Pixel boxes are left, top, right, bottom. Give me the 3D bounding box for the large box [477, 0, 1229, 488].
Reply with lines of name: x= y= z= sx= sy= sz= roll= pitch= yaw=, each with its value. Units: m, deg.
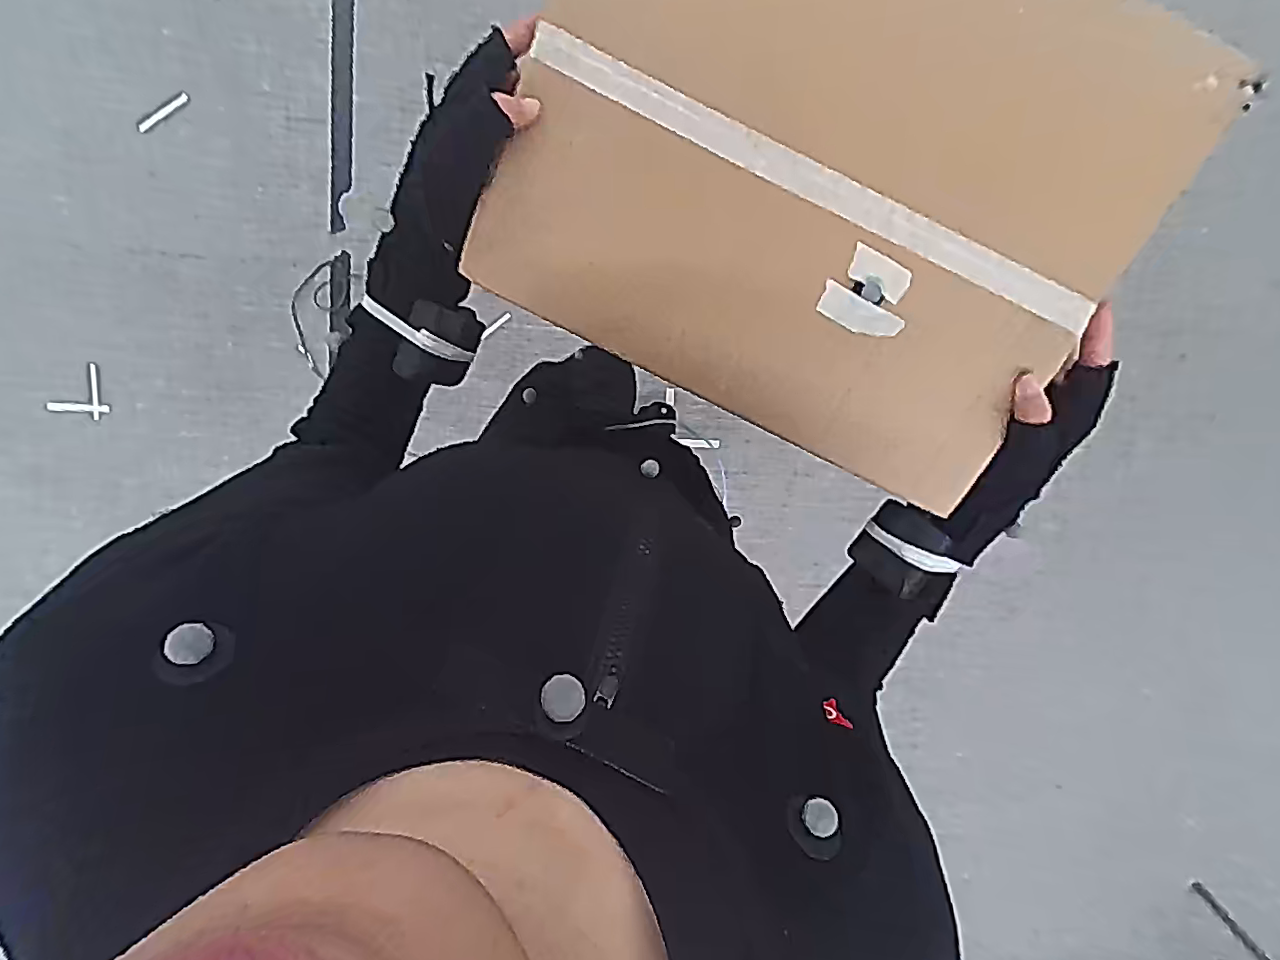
large box: x=0.130 y=-0.247 z=0.507 sx=0.408 sy=0.320 sz=0.320 roll=26 pitch=109 yaw=-2
